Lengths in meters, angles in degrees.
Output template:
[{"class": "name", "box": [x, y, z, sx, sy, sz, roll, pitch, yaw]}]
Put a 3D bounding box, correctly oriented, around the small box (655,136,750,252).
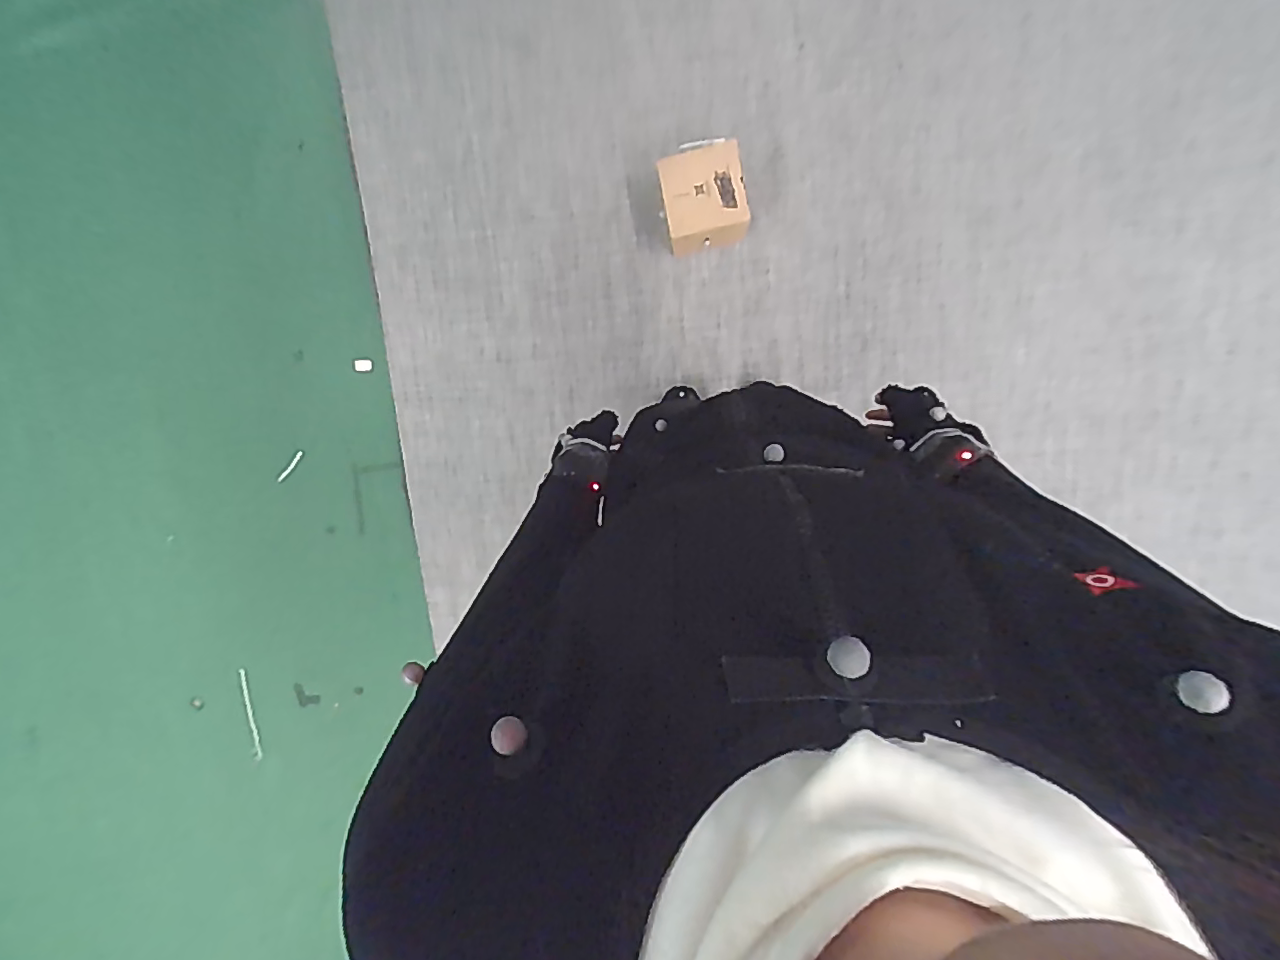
[{"class": "small box", "box": [0.140, -0.642, 1.235, 0.179, 0.176, 0.168, -14, 99, 8]}]
